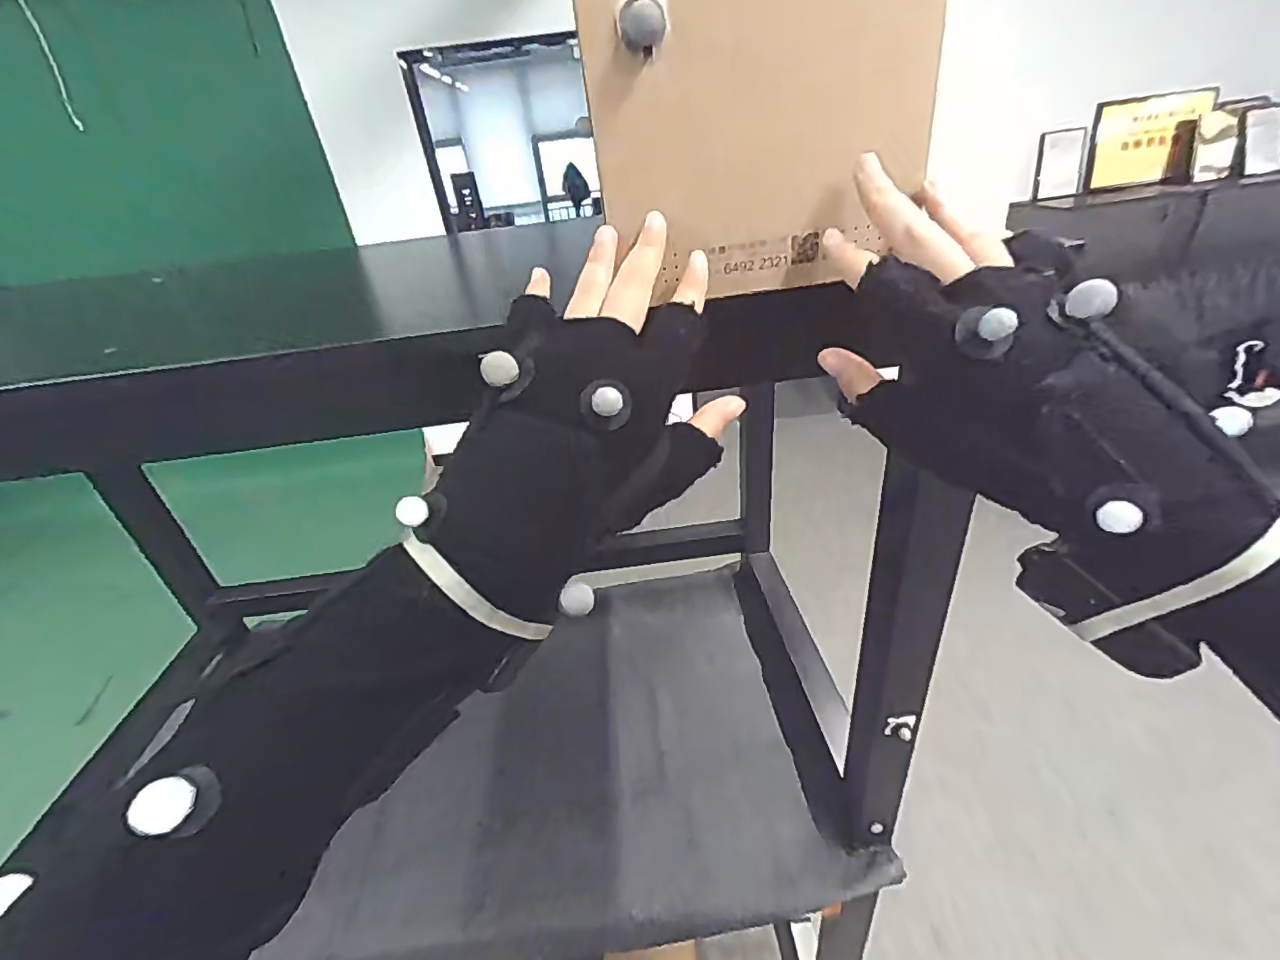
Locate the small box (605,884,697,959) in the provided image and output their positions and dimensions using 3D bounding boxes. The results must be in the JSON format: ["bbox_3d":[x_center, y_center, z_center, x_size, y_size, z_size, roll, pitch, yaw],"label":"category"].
[{"bbox_3d":[0.025,0.943,1.077,0.168,0.176,0.179,-6,33,4],"label":"small box"}]
